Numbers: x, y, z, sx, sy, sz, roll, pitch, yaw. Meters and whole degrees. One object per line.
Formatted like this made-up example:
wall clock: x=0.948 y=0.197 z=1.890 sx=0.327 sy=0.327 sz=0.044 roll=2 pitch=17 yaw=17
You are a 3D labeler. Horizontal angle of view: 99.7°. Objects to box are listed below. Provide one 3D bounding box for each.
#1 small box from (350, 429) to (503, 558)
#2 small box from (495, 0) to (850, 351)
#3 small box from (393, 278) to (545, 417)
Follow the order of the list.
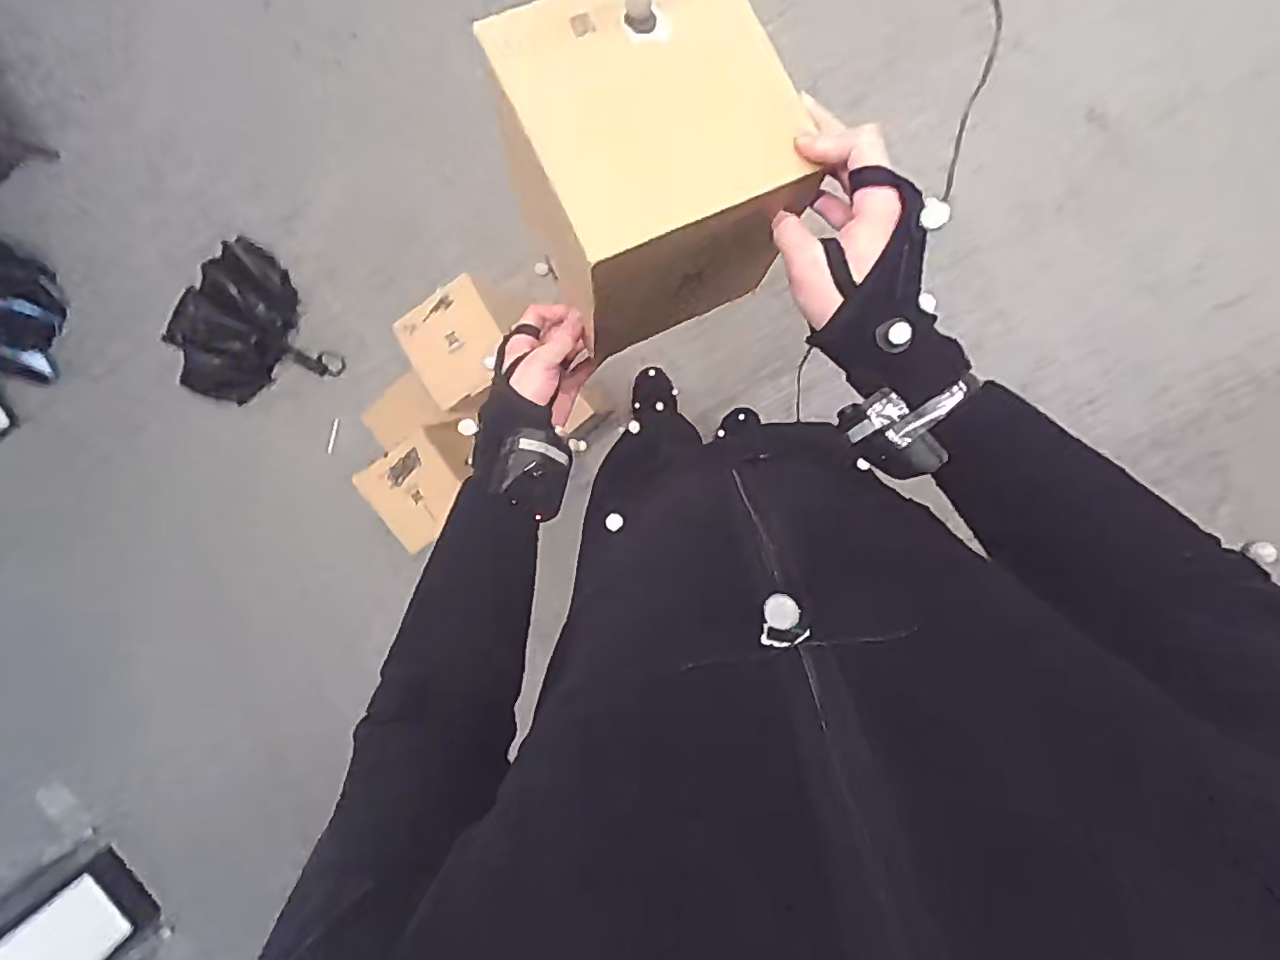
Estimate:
small box: x=-0.393 y=0.015 z=1.025 sx=0.168 sy=0.176 sz=0.179 roll=-34 pitch=96 yaw=9
small box: x=0.012 y=-0.228 z=0.399 sx=0.168 sy=0.179 sz=0.176 roll=-25 pitch=84 yaw=-8
small box: x=-0.298 y=-0.230 z=0.984 sx=0.168 sy=0.176 sz=0.179 roll=-31 pitch=91 yaw=9
